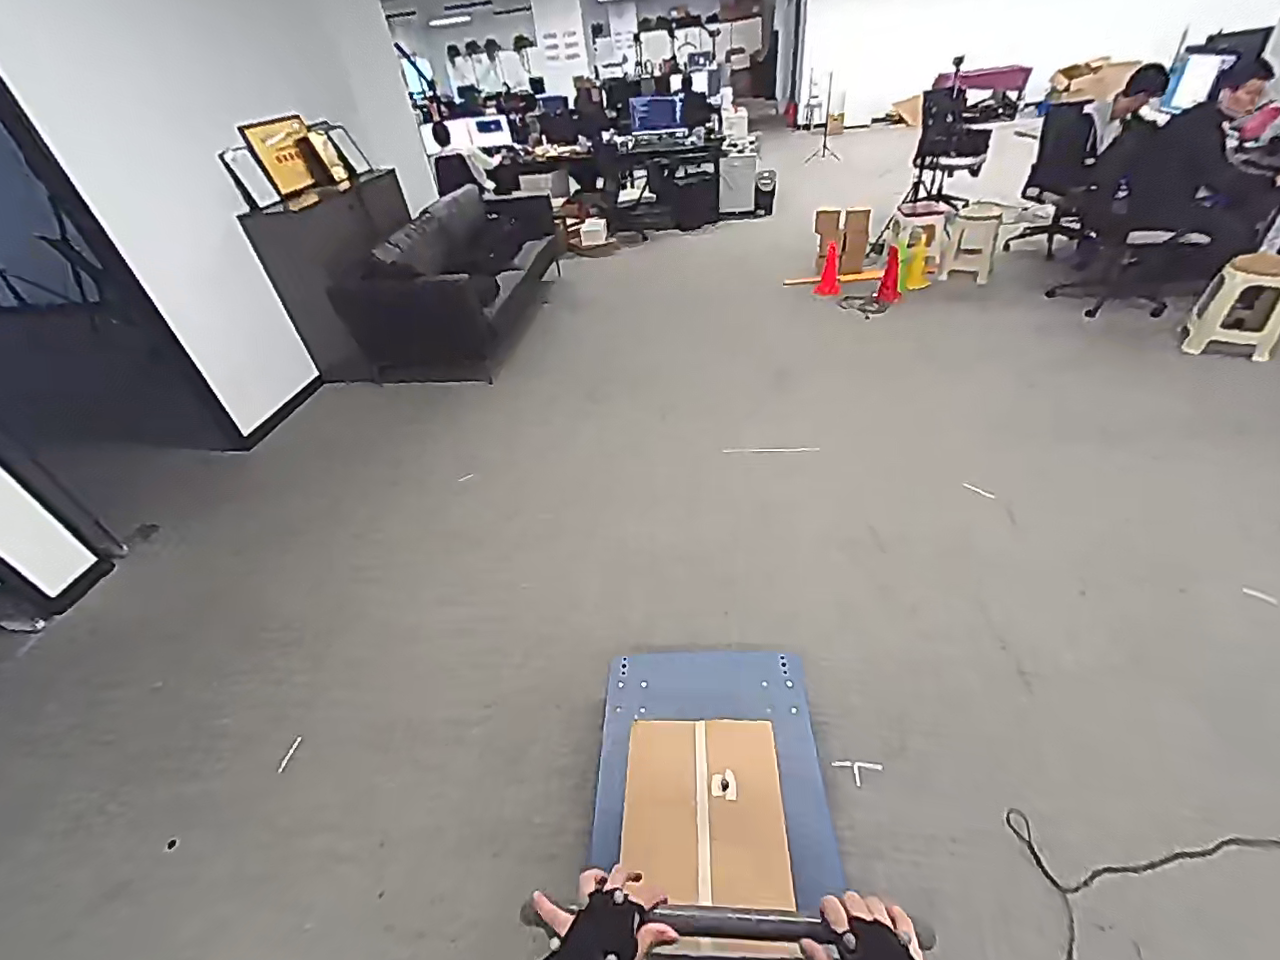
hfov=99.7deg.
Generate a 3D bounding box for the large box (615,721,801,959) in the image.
[{"bbox_3d":[0.133,0.777,1.133,0.320,0.320,0.408,-2,37,6],"label":"large box"}]
